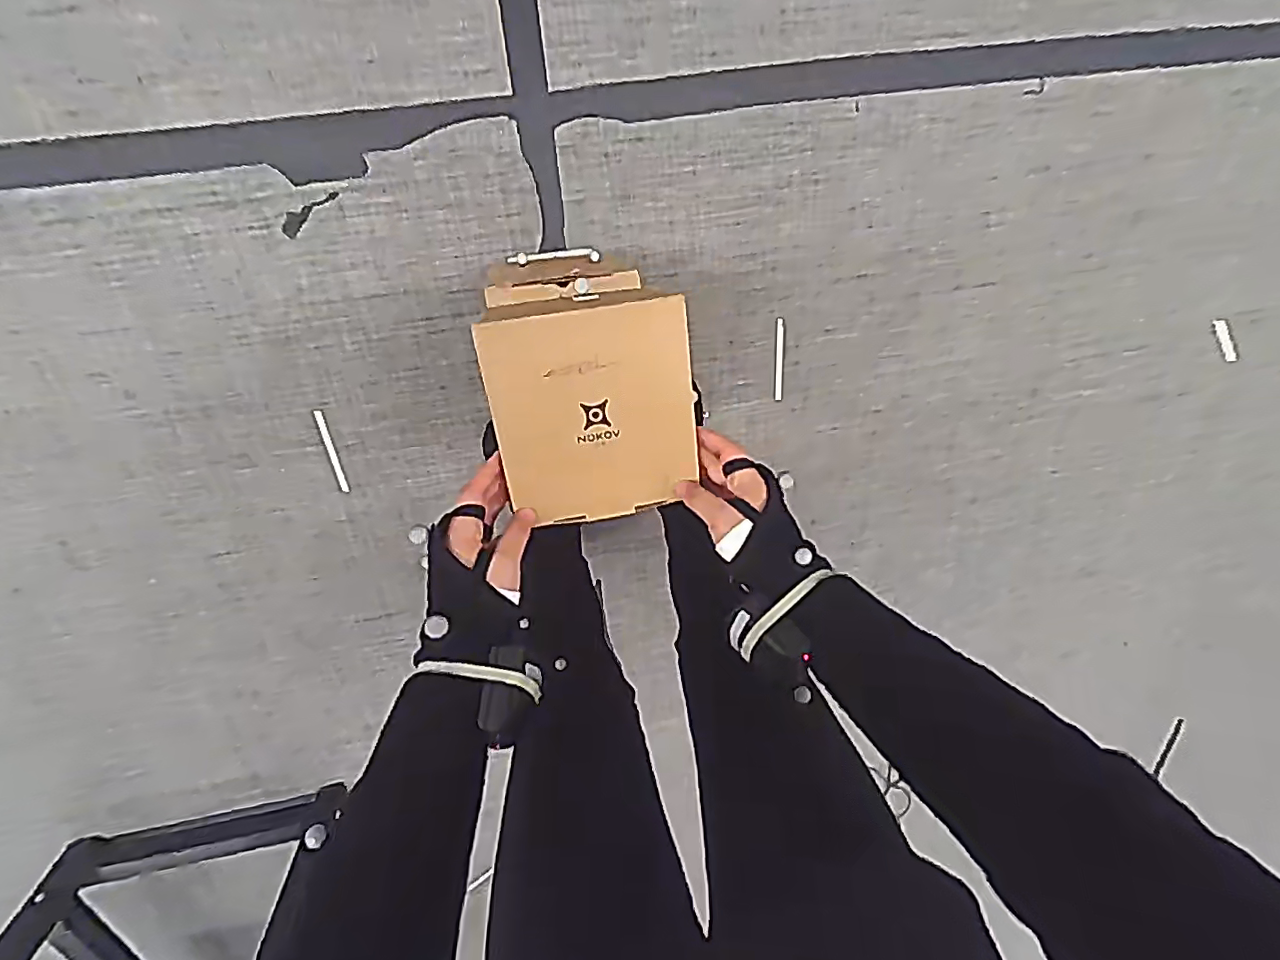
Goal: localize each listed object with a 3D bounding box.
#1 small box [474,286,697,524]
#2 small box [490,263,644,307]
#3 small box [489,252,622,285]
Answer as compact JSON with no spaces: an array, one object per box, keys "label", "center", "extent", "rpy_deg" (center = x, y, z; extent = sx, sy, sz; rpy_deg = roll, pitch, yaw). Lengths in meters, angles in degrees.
[{"label":"small box","center":[-0.049,-0.083,0.518],"extent":[0.168,0.176,0.179],"rpy_deg":[-10,113,-7]},{"label":"small box","center":[-0.086,-0.169,0.672],"extent":[0.168,0.176,0.179],"rpy_deg":[-8,118,-7]},{"label":"small box","center":[-0.118,-0.245,0.814],"extent":[0.179,0.176,0.168],"rpy_deg":[-9,118,-7]}]
